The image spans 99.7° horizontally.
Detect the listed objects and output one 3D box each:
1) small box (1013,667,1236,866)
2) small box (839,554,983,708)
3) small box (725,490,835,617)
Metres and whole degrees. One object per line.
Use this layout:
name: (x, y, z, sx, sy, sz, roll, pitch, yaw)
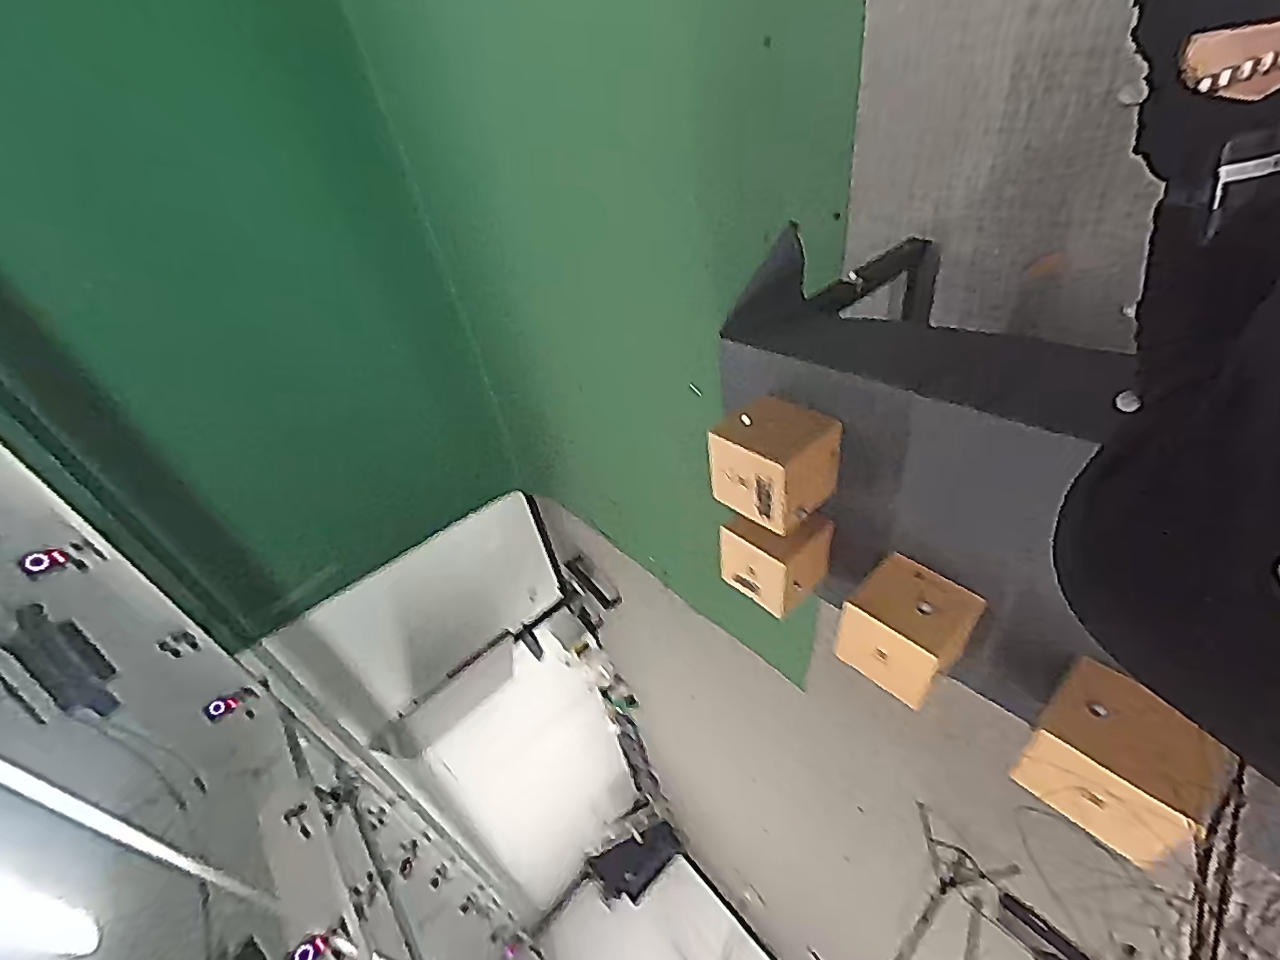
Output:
small box: (0.703, 0.406, 0.796, 0.179, 0.176, 0.168, 33, 145, 40)
small box: (0.495, 0.270, 0.994, 0.168, 0.176, 0.179, 32, 145, 39)
small box: (0.303, 0.155, 1.178, 0.168, 0.176, 0.179, 32, 144, 39)
